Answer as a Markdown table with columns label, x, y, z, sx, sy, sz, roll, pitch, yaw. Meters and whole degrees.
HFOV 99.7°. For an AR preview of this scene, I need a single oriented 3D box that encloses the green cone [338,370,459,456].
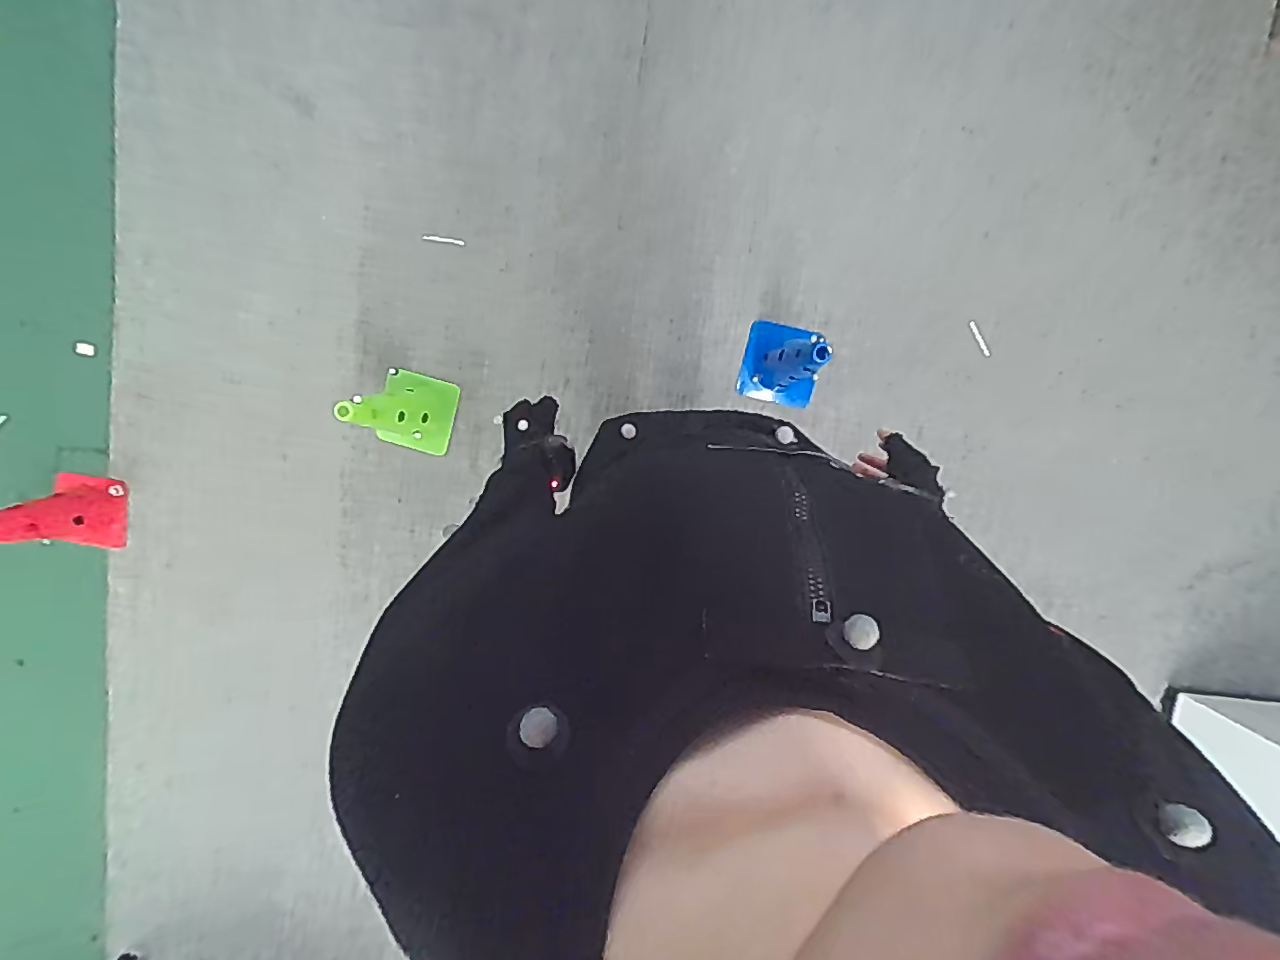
| label | x | y | z | sx | sy | sz | roll | pitch | yaw |
| --- | --- | --- | --- | --- | --- | --- | --- | --- | --- |
| green cone | -0.604 | -0.161 | 1.289 | 0.202 | 0.368 | 0.200 | 15 | 97 | 0 |
